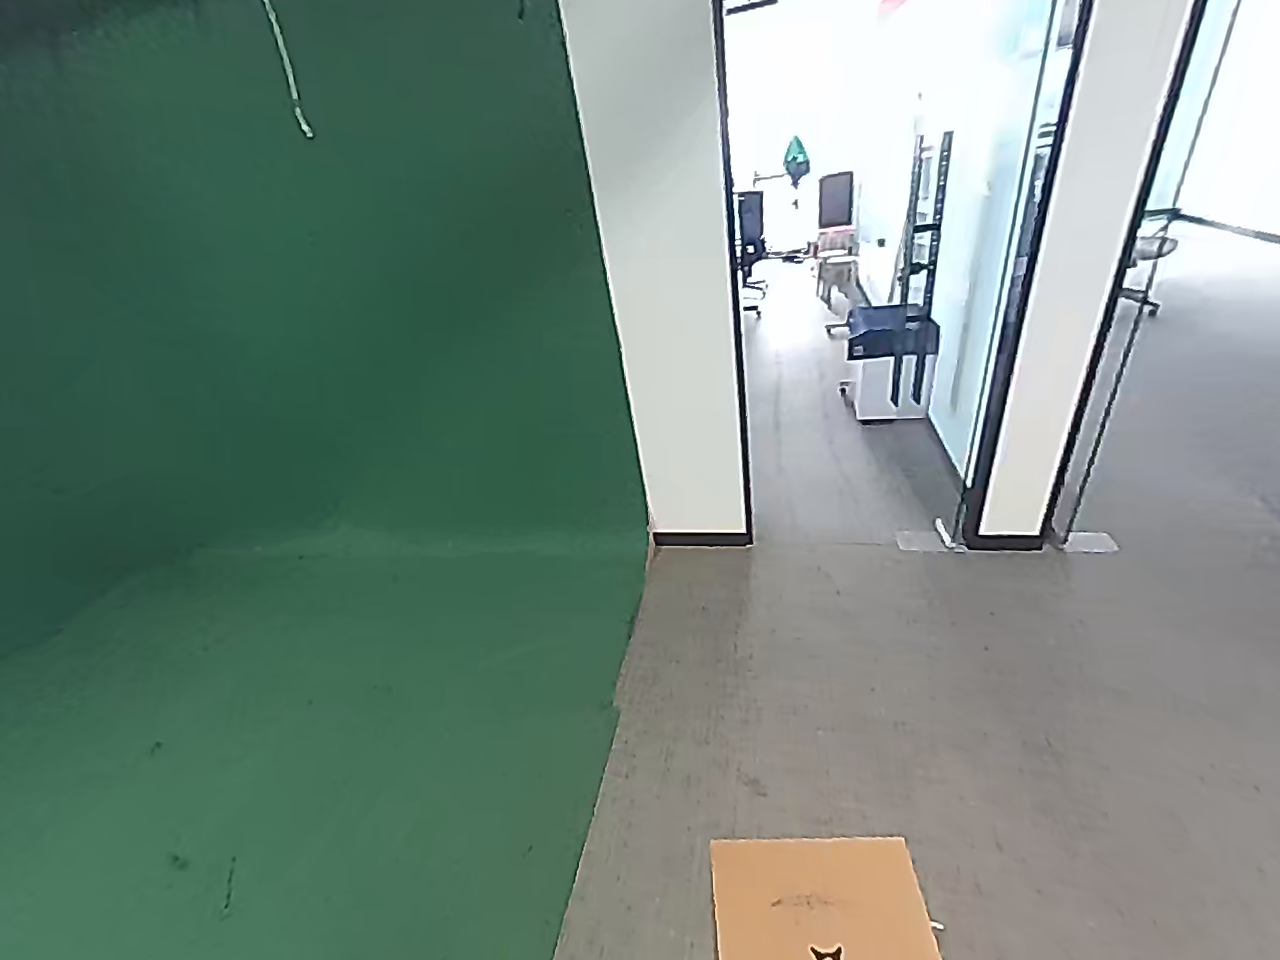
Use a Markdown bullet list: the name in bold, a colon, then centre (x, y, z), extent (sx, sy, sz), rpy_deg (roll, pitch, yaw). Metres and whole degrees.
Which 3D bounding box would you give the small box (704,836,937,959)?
- **small box**: centre (0.141, 0.418, 0.440), extent (0.168, 0.176, 0.179), rpy_deg (-3, 39, 4)
